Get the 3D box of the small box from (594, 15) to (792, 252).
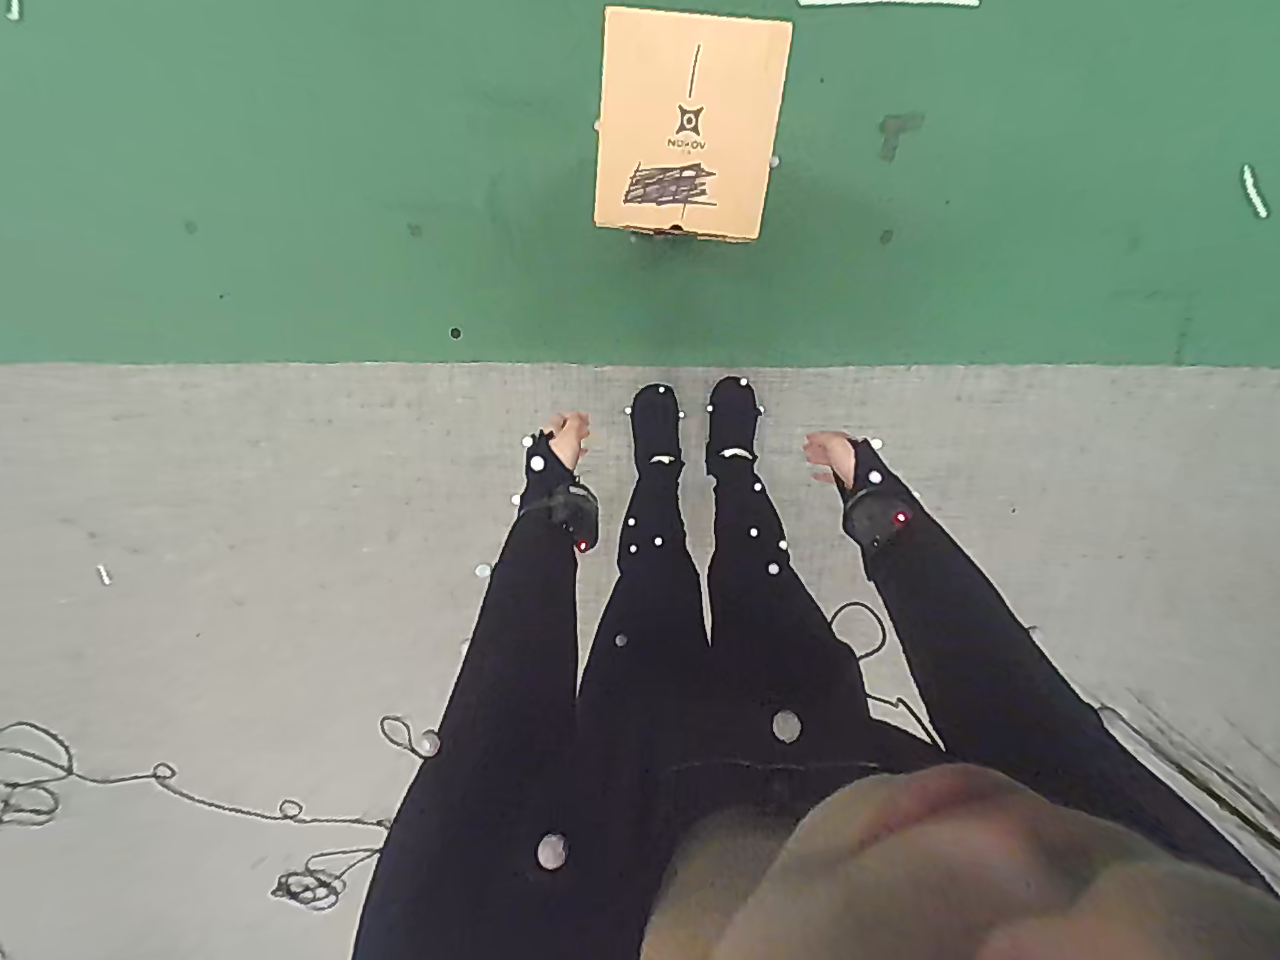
[{"bbox_3d":[0.049,-0.347,0.574,0.168,0.176,0.179,6,114,0],"label":"small box"}]
